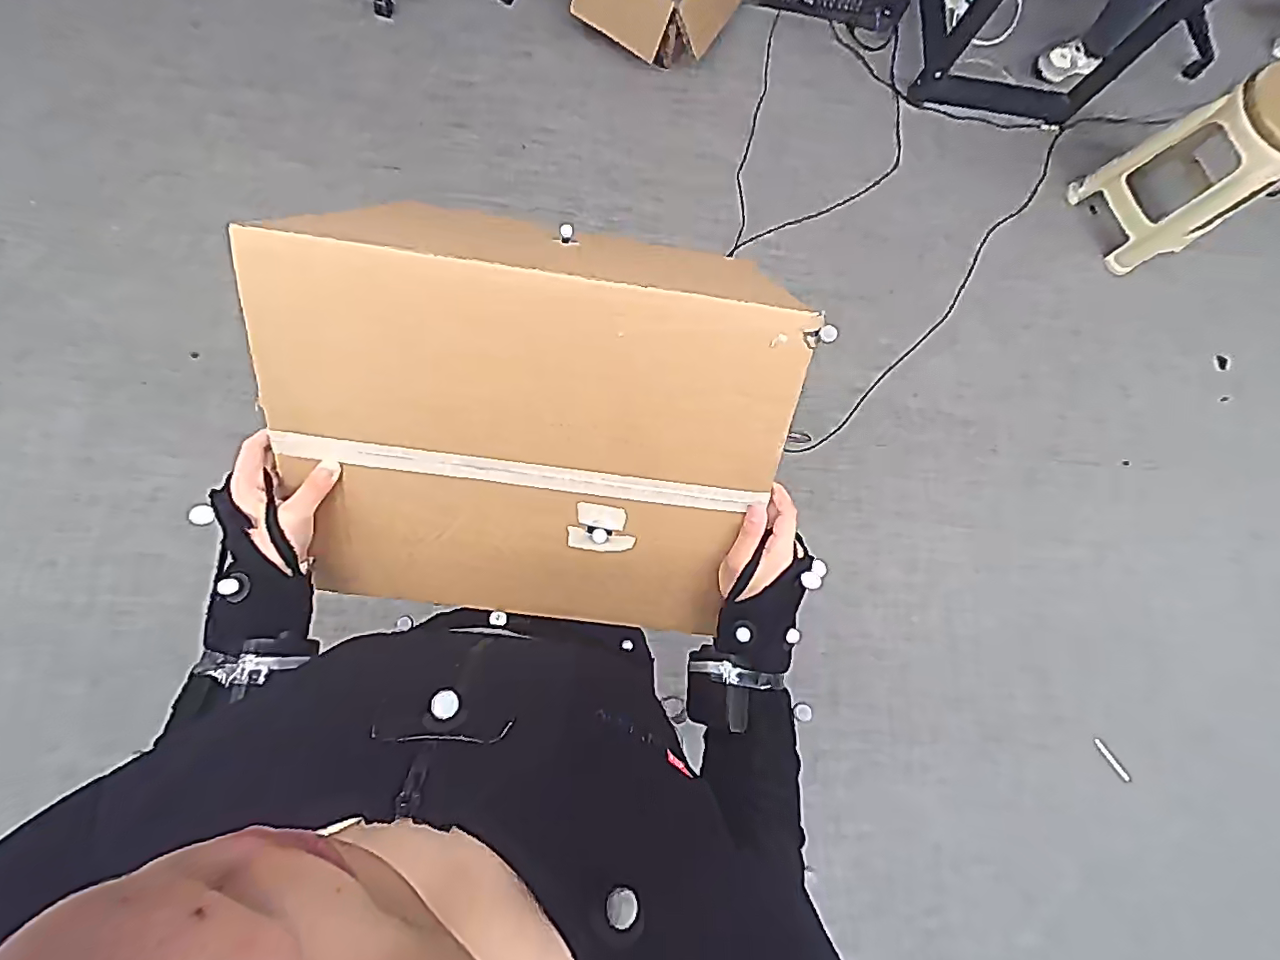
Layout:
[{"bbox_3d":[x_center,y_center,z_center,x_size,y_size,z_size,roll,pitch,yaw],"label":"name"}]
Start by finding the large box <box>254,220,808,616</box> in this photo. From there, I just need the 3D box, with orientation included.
[{"bbox_3d":[-0.093,-0.085,0.587,0.408,0.320,0.320,6,120,-4],"label":"large box"}]
